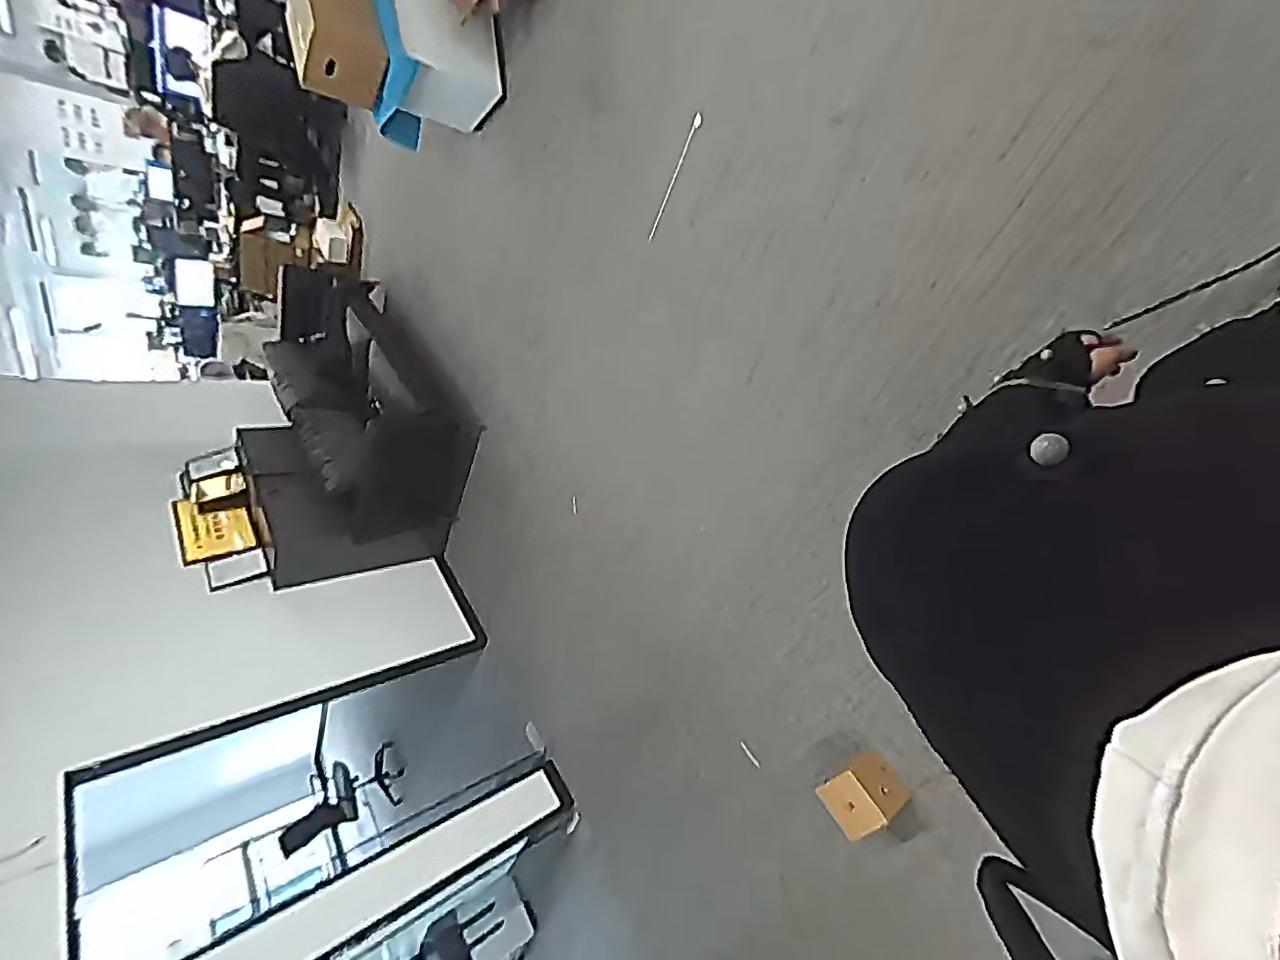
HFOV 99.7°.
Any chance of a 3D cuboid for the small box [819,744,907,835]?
[{"bbox_3d":[0.713,0.975,1.713,0.168,0.176,0.179,53,132,29],"label":"small box"}]
